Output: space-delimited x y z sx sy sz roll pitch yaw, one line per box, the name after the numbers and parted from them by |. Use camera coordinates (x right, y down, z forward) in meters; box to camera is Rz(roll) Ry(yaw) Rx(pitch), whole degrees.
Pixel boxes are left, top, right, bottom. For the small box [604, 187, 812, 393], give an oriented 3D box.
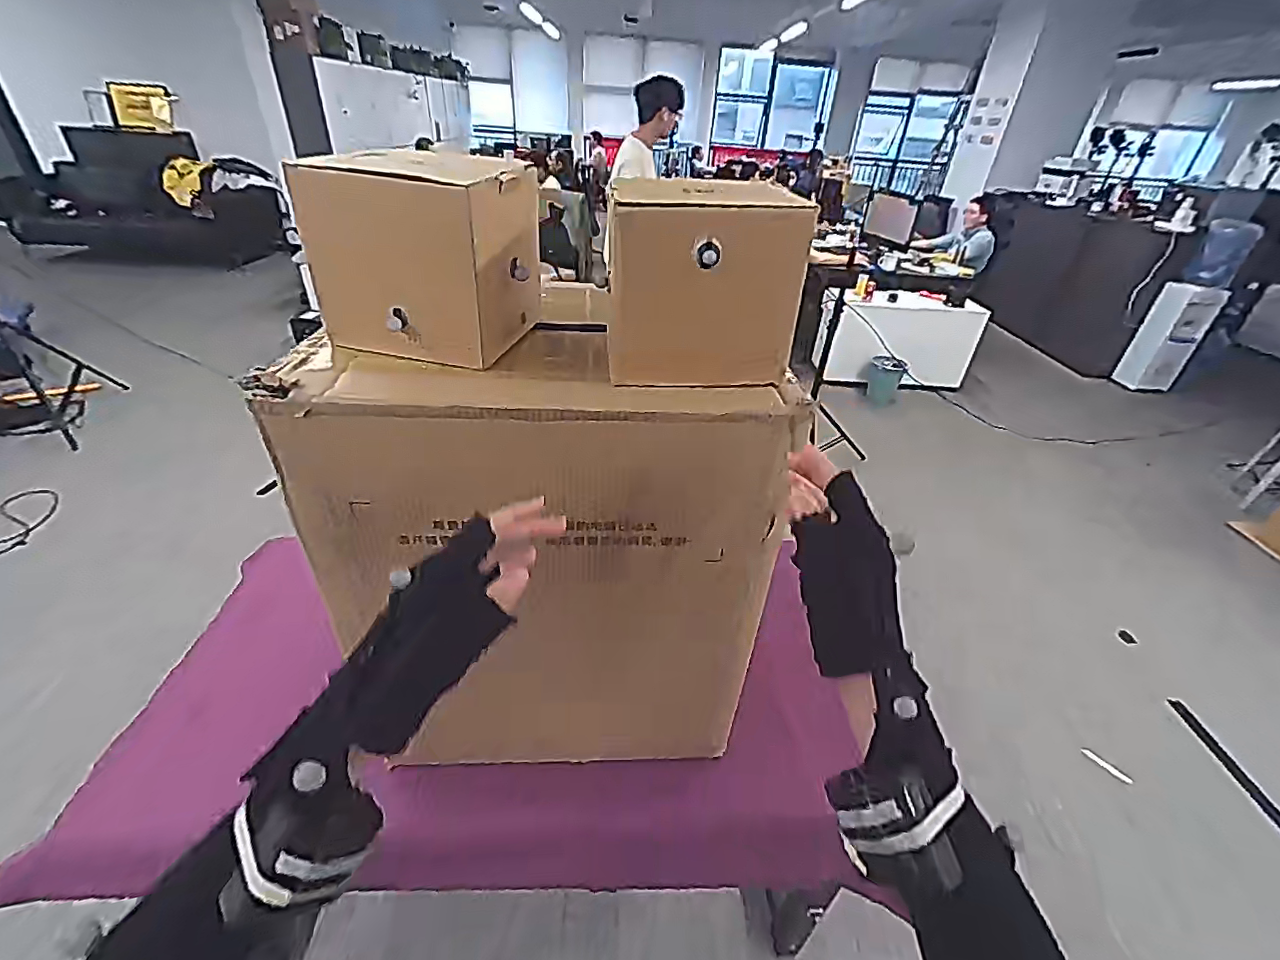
0.053 -0.198 0.559 0.179 0.176 0.168 -1 35 -5 | small box

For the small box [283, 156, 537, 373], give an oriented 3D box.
-0.216 -0.226 0.567 0.179 0.176 0.168 11 36 7 | small box
